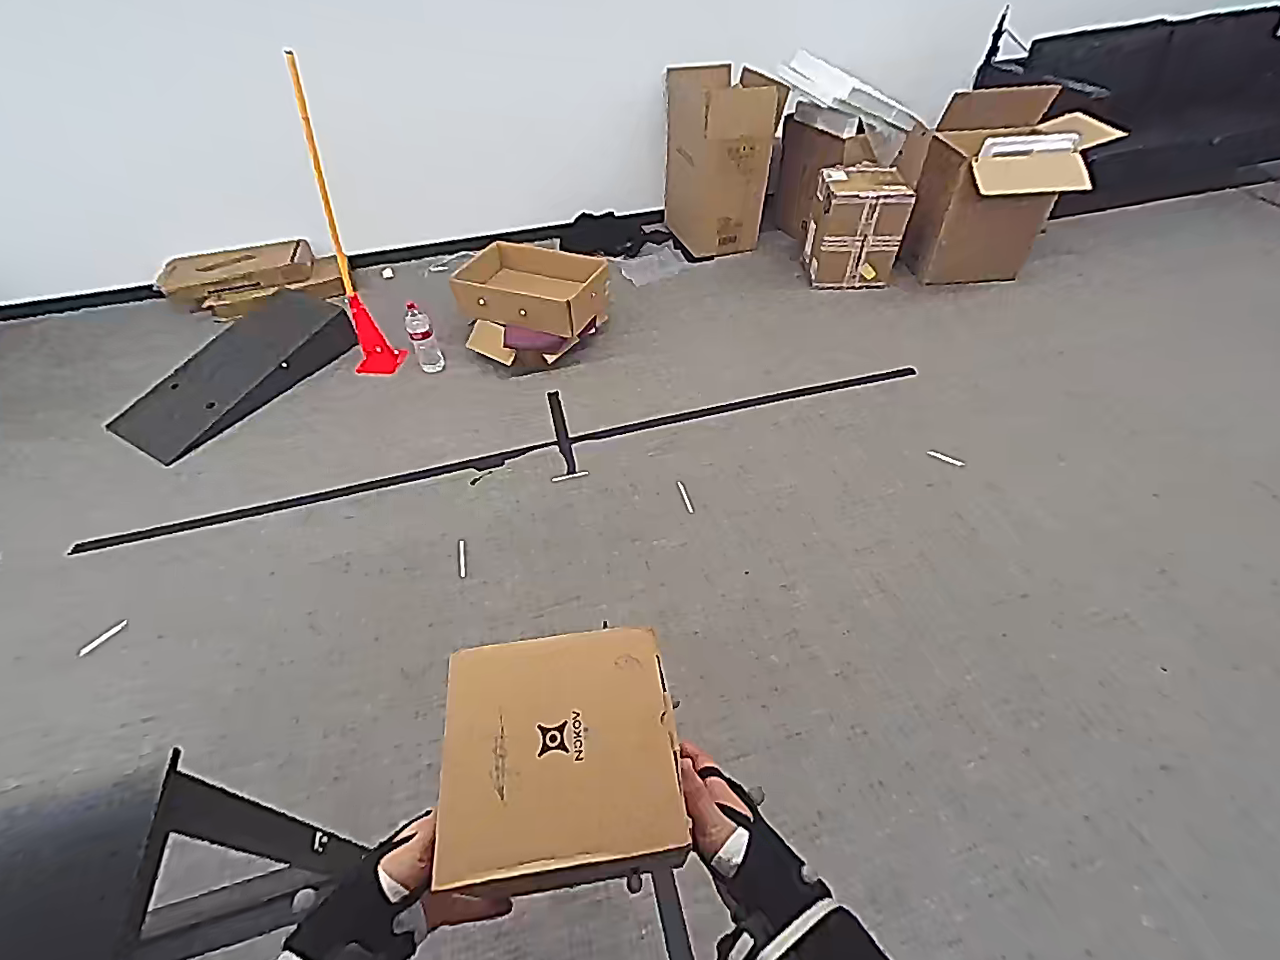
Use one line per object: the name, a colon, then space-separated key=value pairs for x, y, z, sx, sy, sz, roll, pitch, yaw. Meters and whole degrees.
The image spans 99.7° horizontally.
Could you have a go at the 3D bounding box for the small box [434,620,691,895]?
small box: x=-0.059 y=0.244 z=0.473 sx=0.179 sy=0.176 sz=0.168 roll=-9 pitch=50 yaw=-4
